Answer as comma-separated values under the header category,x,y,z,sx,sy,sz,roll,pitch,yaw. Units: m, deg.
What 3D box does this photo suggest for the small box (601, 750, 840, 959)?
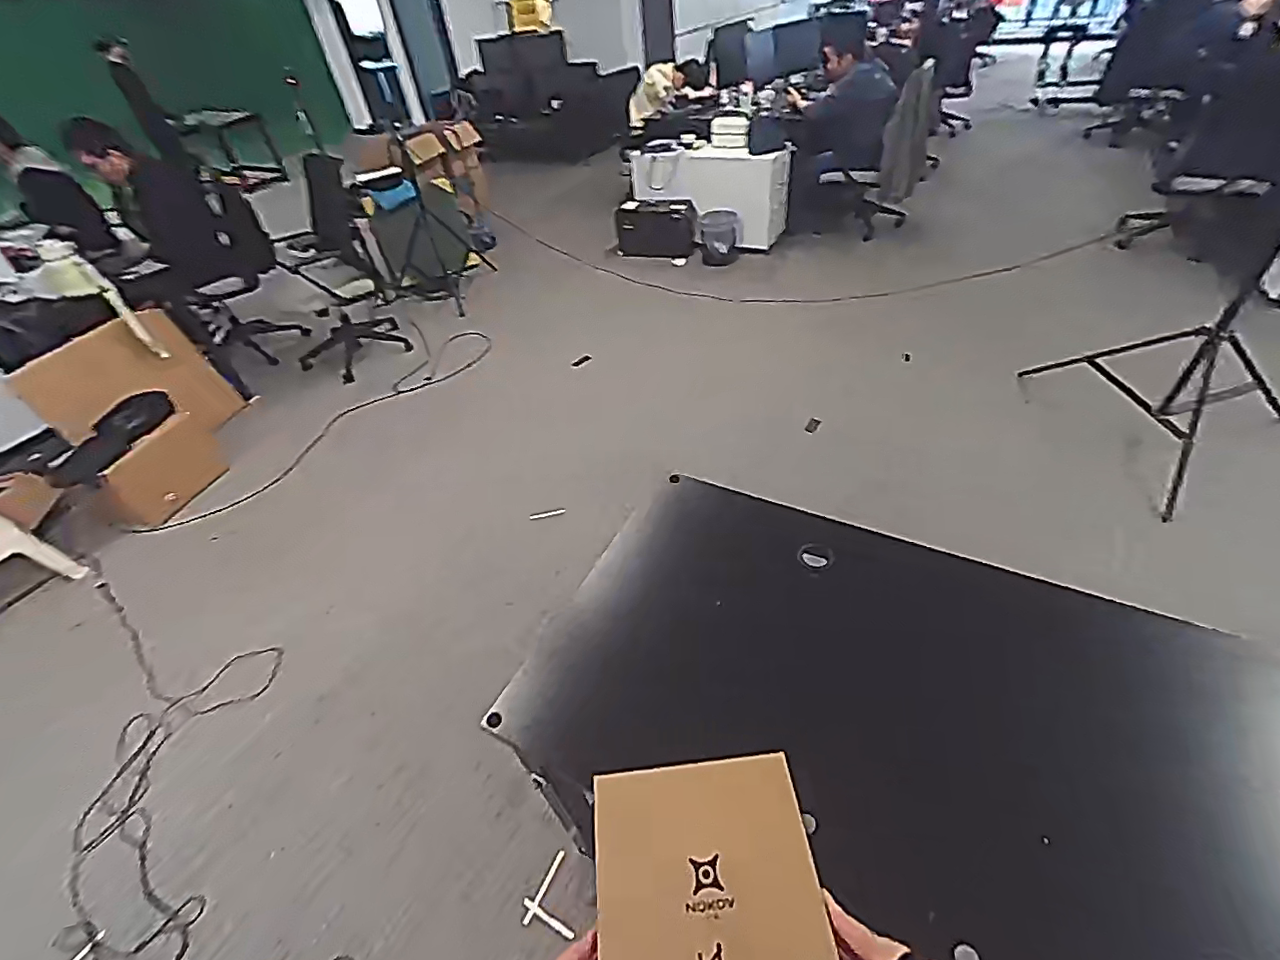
category,x,y,z,sx,sy,sz,roll,pitch,yaw
small box,0.058,0.358,0.459,0.168,0.176,0.179,-7,43,1
